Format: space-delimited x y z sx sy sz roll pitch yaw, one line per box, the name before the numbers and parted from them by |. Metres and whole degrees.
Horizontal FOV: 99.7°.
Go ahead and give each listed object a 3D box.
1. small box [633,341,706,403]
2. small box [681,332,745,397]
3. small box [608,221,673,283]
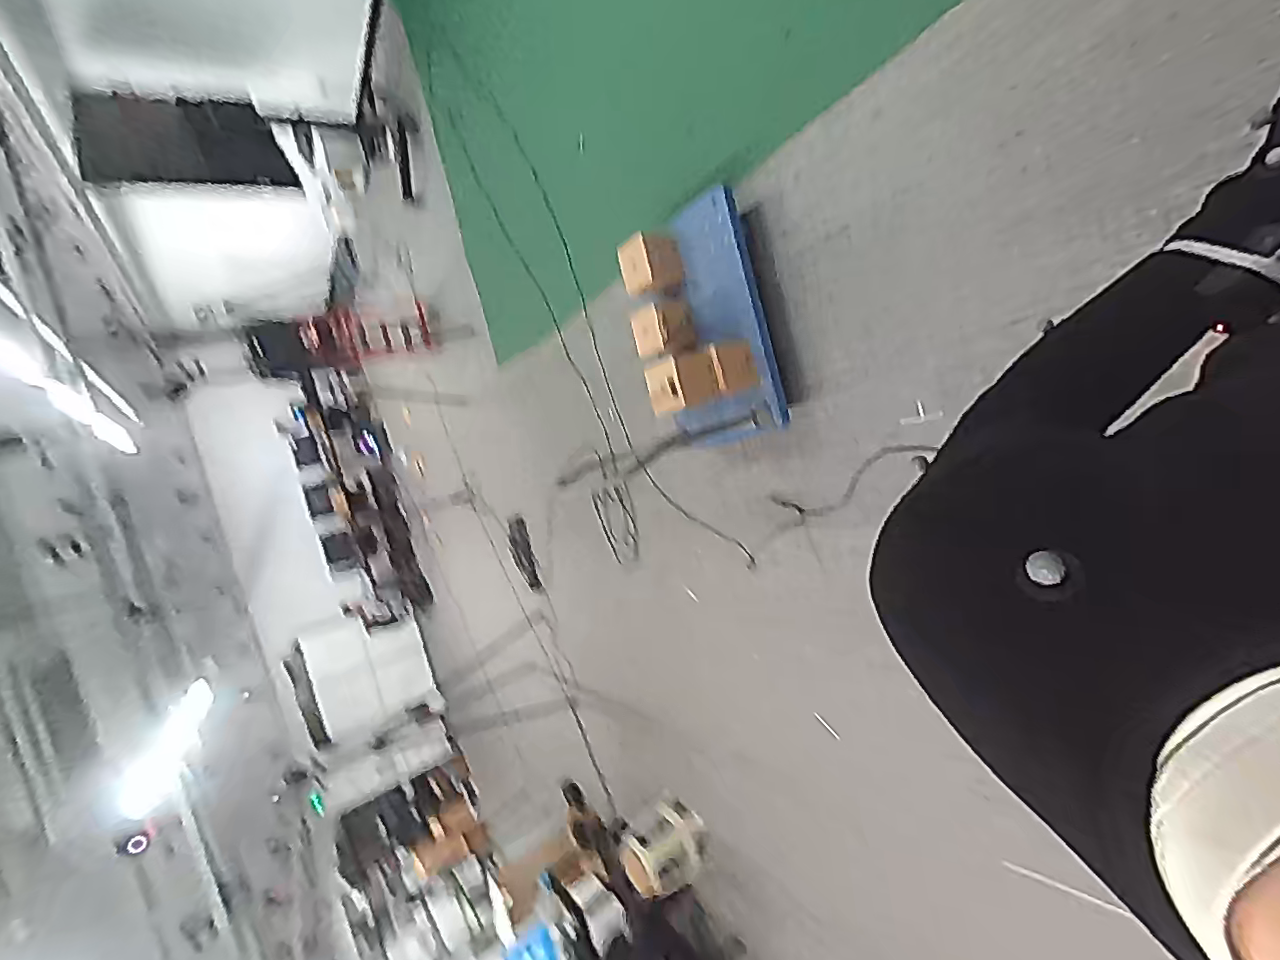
small box | 0.108 -0.372 1.859 0.179 0.176 0.168 -9 97 56
small box | 0.256 -0.419 1.938 0.168 0.176 0.179 32 130 41
small box | 0.006 -0.872 2.066 0.168 0.176 0.179 -7 100 54
